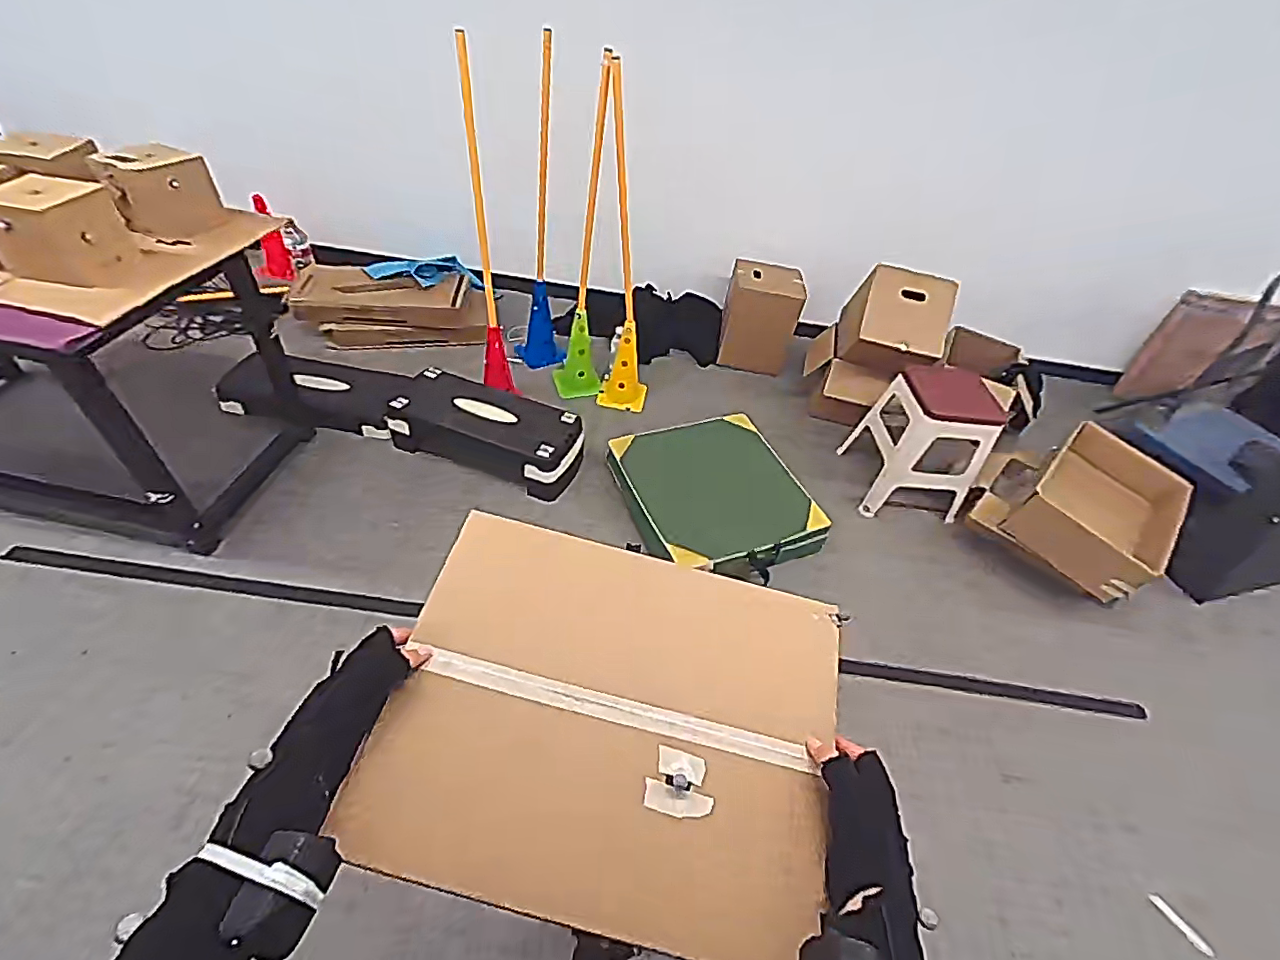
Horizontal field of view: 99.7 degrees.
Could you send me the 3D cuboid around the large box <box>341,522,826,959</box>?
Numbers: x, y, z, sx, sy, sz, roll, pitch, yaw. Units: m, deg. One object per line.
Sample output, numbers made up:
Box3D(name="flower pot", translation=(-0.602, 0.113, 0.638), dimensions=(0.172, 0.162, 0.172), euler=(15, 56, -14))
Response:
Box3D(name="large box", translation=(-0.039, 0.293, 0.635), dimensions=(0.408, 0.320, 0.320), euler=(14, 57, 1))
